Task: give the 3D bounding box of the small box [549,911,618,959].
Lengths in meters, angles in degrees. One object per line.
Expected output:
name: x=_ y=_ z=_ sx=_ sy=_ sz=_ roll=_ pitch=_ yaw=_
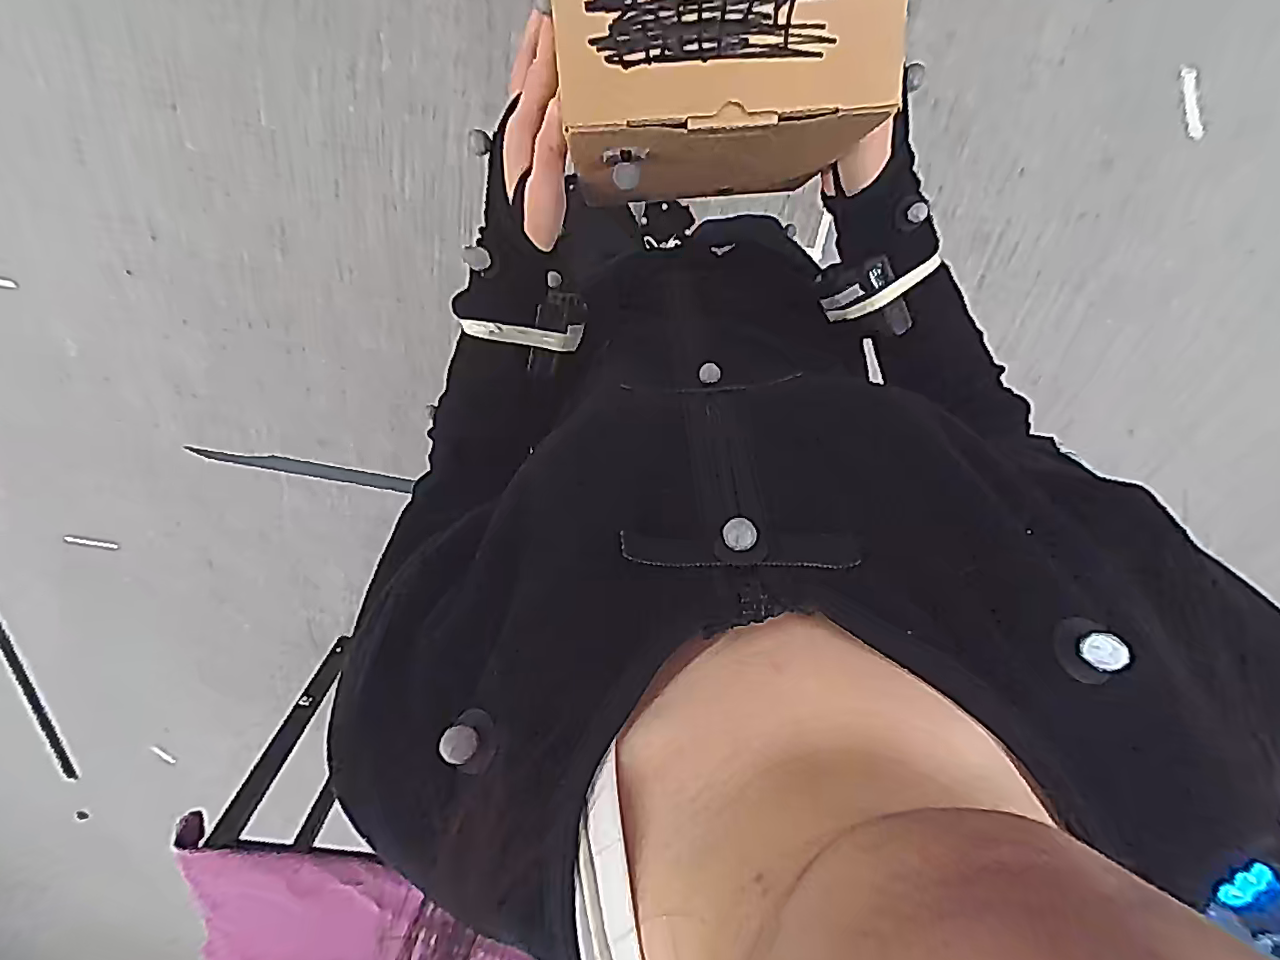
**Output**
small box: x=-0.146 y=1.216 z=1.347 sx=0.168 sy=0.176 sz=0.179 roll=7 pitch=119 yaw=-5
